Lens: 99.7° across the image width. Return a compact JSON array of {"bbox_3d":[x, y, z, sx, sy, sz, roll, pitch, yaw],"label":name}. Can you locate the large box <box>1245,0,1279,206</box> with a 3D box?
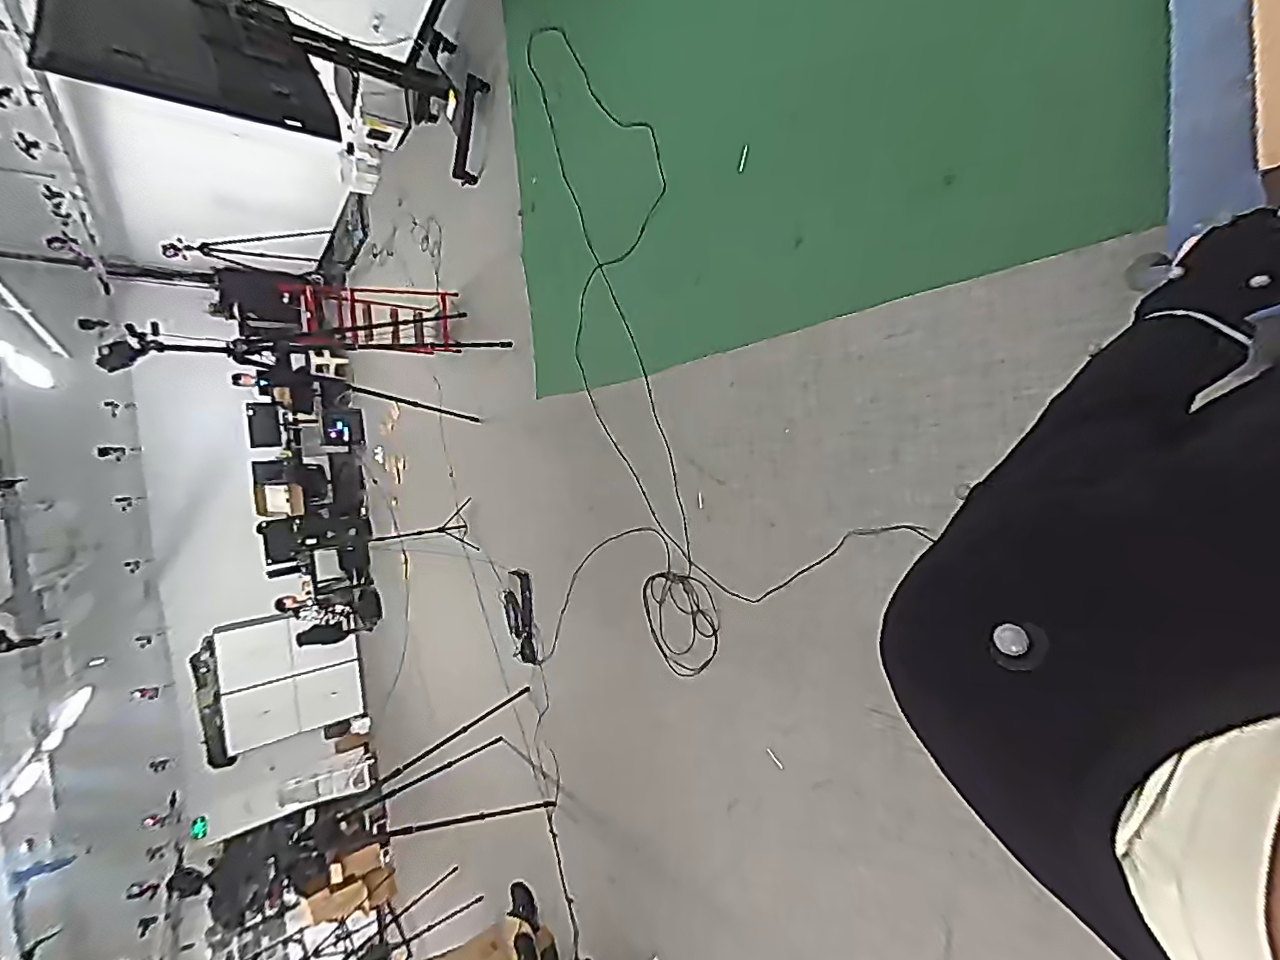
[{"bbox_3d":[1.085,-0.660,0.742,0.320,0.320,0.408,-2,94,52],"label":"large box"}]
